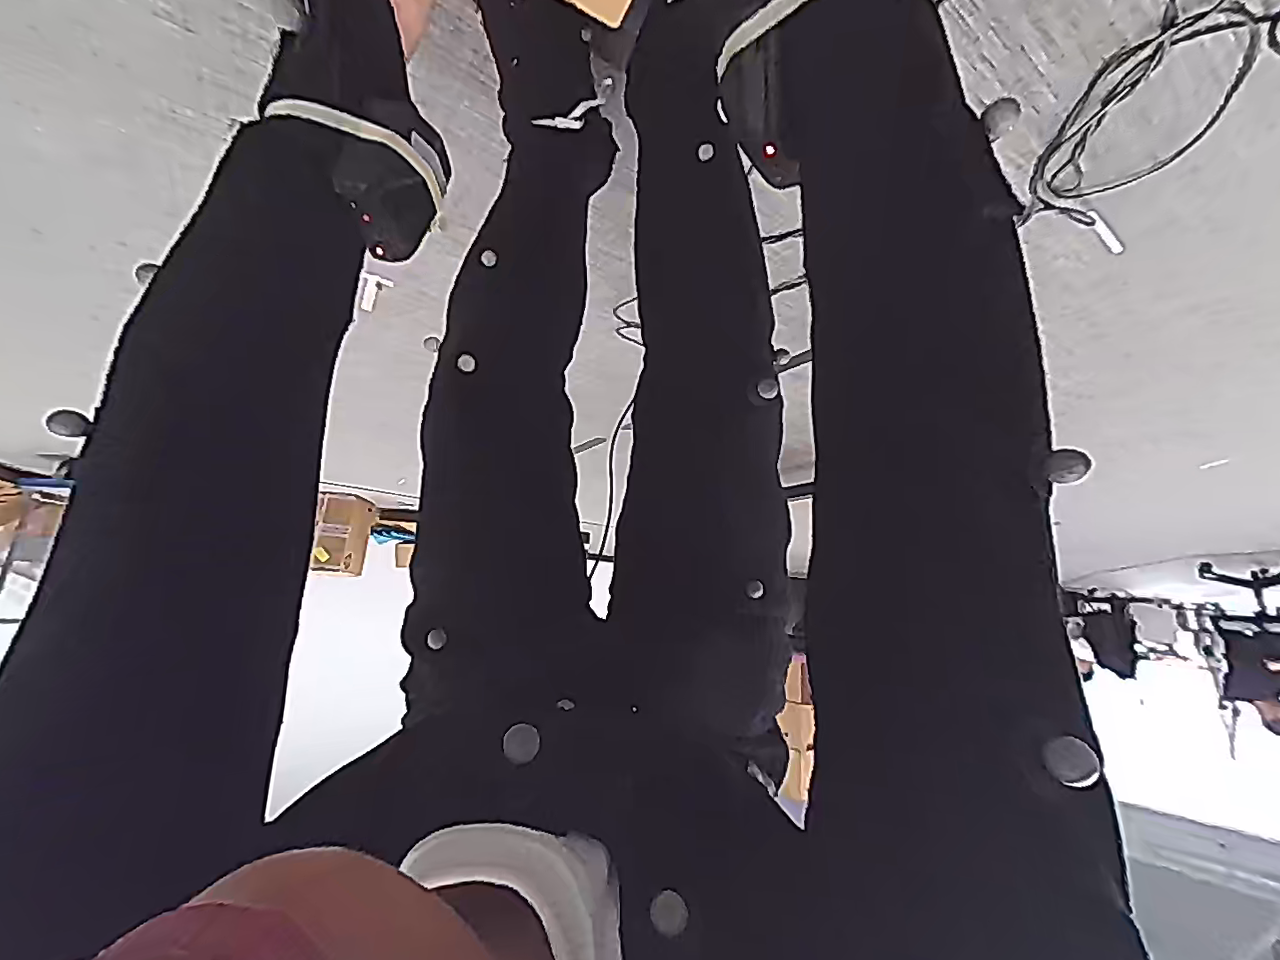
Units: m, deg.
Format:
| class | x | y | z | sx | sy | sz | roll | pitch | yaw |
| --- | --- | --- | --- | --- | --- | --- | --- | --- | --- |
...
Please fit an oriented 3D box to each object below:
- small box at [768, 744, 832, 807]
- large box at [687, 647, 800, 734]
| class | x | y | z | sx | sy | sz | roll | pitch | yaw |
| --- | --- | --- | --- | --- | --- | --- | --- | --- | --- |
| small box | 0.607 | 1.112 | 2.053 | 0.179 | 0.176 | 0.168 | 12 | 165 | -28 |
| large box | 0.455 | 0.920 | 2.406 | 0.408 | 0.320 | 0.320 | 11 | 165 | -32 |
